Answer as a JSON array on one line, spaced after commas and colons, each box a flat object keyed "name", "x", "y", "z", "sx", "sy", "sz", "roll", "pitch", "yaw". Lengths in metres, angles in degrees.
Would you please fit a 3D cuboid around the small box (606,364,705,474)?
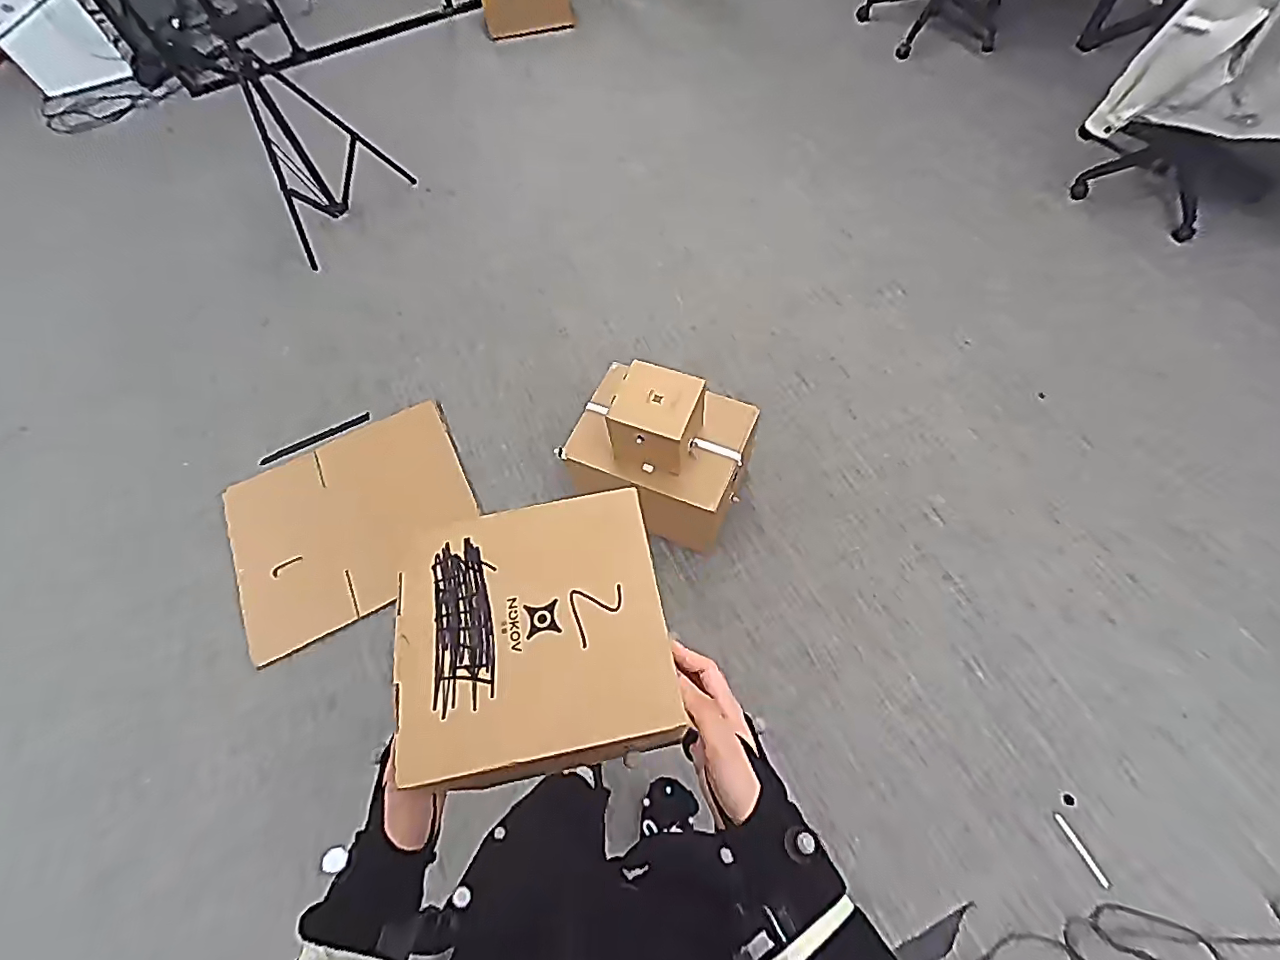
[{"name": "small box", "x": 0.040, "y": -0.134, "z": 1.243, "sx": 0.179, "sy": 0.176, "sz": 0.168, "roll": 18, "pitch": 68, "yaw": 12}]
